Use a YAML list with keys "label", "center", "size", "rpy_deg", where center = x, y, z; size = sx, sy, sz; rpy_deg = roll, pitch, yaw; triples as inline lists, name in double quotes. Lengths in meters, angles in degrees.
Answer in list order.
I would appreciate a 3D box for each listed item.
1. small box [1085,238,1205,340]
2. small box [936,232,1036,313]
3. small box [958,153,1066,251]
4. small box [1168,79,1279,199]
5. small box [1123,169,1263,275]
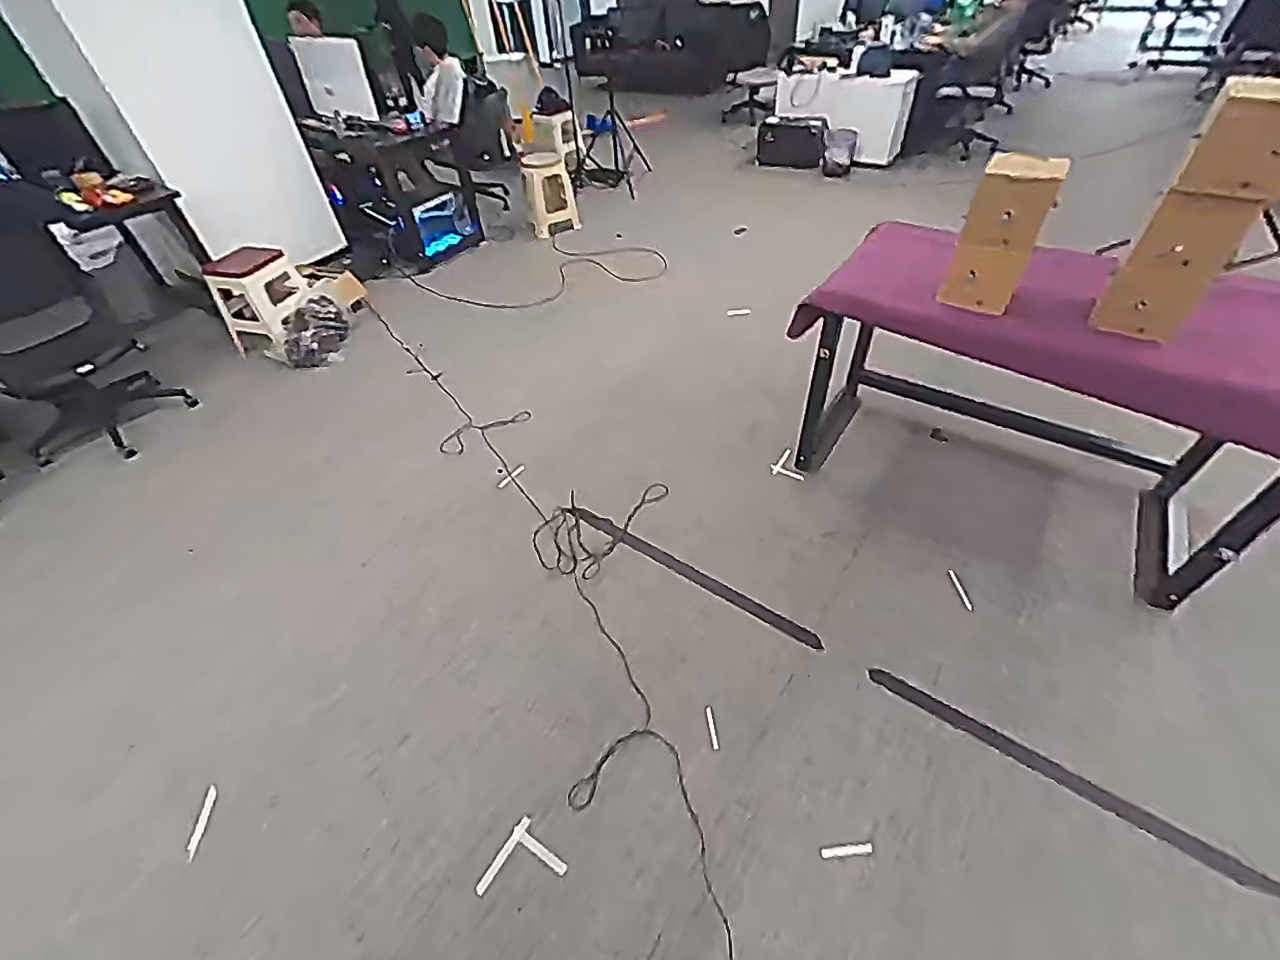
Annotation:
- label: "small box"
  center: [1.243, -0.471, 1.333]
  size: [0.168, 0.176, 0.179]
  rpy_deg: [28, 53, 27]
- label: "small box"
  center: [0.928, -0.574, 1.463]
  size: [0.168, 0.176, 0.179]
  rpy_deg: [26, 51, 26]
- label: "small box"
  center: [0.921, -0.694, 1.351]
  size: [0.168, 0.176, 0.179]
  rpy_deg: [24, 51, 25]
- label: "small box"
  center: [1.217, -0.687, 1.089]
  size: [0.168, 0.176, 0.179]
  rpy_deg: [25, 52, 25]
- label: "small box"
  center: [1.238, -0.587, 1.218]
  size: [0.168, 0.176, 0.179]
  rpy_deg: [27, 54, 28]
